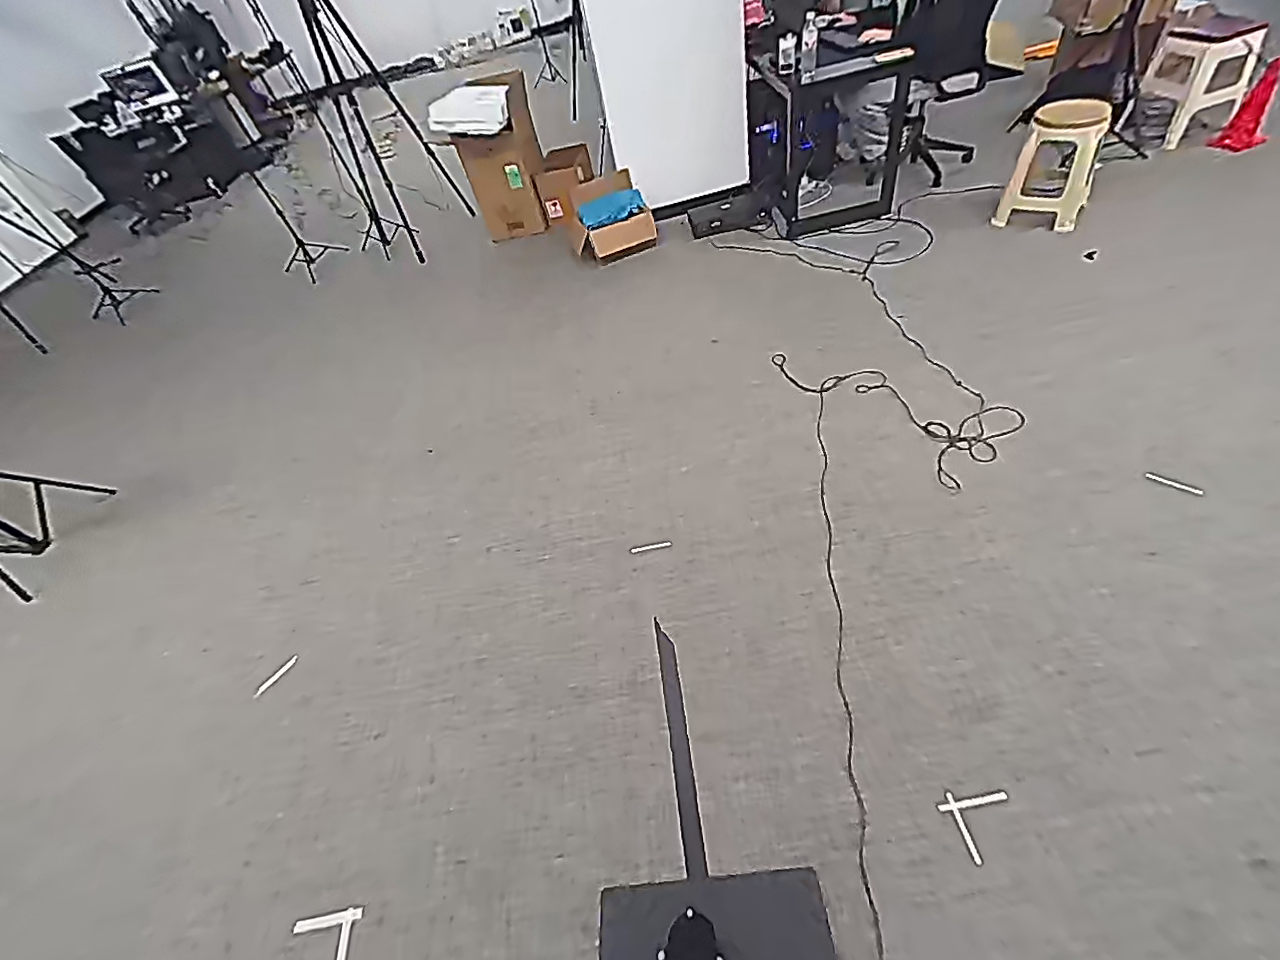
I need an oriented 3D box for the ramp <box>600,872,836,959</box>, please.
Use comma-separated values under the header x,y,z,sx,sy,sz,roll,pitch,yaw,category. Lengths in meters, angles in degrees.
x,y,z,sx,sy,sz,roll,pitch,yaw,category
0.164,1.213,0.827,0.509,0.206,0.991,-12,47,5,ramp
